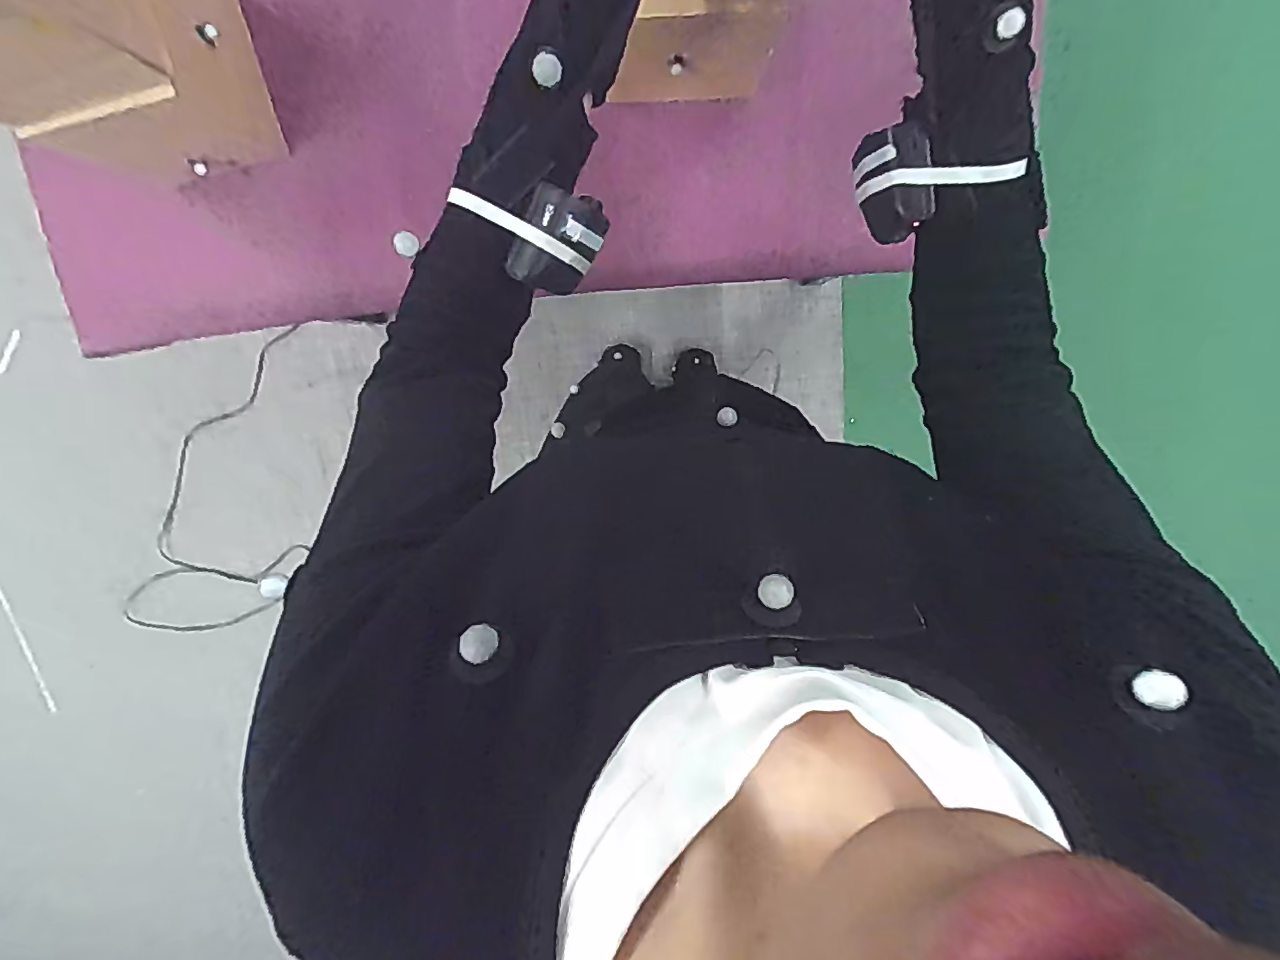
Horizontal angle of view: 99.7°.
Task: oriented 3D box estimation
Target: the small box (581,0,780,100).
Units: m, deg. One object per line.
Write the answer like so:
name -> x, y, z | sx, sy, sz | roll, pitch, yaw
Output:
small box -> 0.038, -0.507, 0.535 | 0.179, 0.176, 0.168 | 2, 102, 1

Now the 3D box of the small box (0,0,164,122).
small box -> -0.535, -0.407, 0.408 | 0.179, 0.176, 0.168 | -13, 103, 4
